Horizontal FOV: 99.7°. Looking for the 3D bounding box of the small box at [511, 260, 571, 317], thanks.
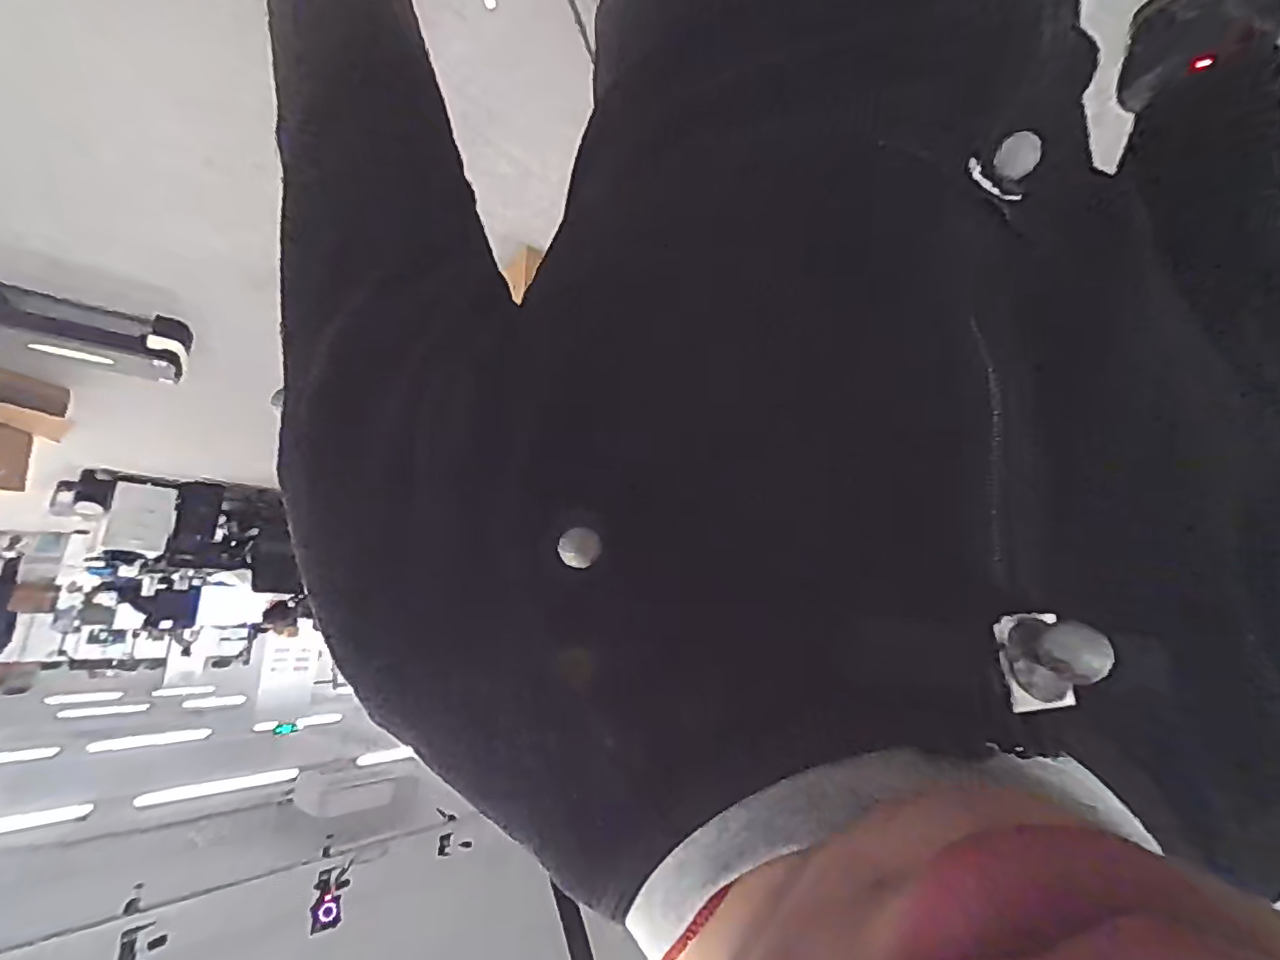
[{"bbox_3d":[-0.365,-0.678,1.995,0.168,0.176,0.179,12,161,-33],"label":"small box"}]
